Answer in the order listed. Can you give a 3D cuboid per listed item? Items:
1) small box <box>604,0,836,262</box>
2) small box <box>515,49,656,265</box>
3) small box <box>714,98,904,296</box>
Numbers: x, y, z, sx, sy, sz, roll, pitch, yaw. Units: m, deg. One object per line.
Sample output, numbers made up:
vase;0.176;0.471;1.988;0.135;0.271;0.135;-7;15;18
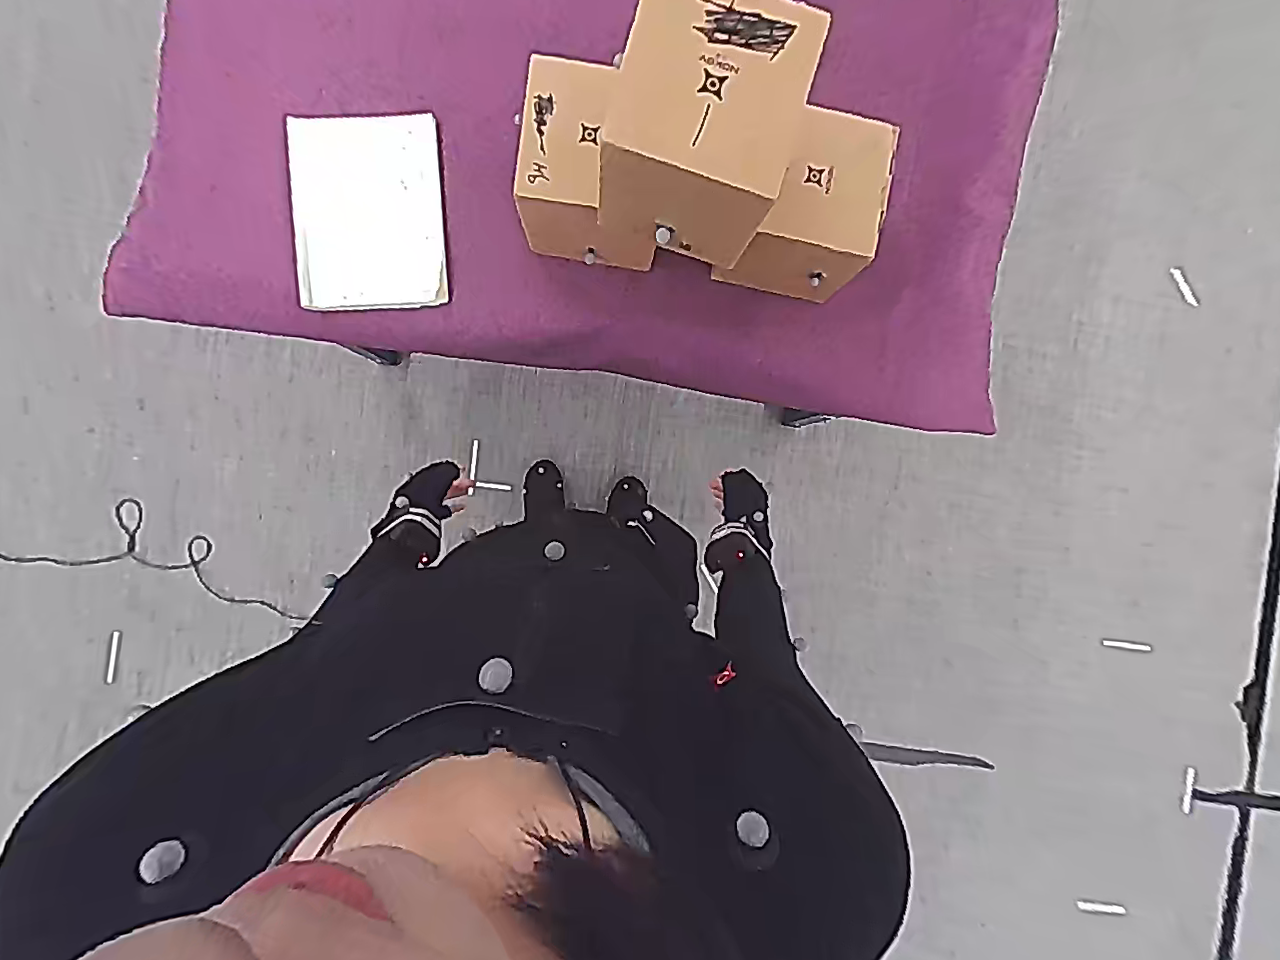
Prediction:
small box;0.063;-0.353;0.541;0.168;0.176;0.179;17;90;-4
small box;-0.052;-0.397;0.698;0.179;0.176;0.168;8;89;-4
small box;0.210;-0.360;0.715;0.179;0.176;0.168;11;88;-2
